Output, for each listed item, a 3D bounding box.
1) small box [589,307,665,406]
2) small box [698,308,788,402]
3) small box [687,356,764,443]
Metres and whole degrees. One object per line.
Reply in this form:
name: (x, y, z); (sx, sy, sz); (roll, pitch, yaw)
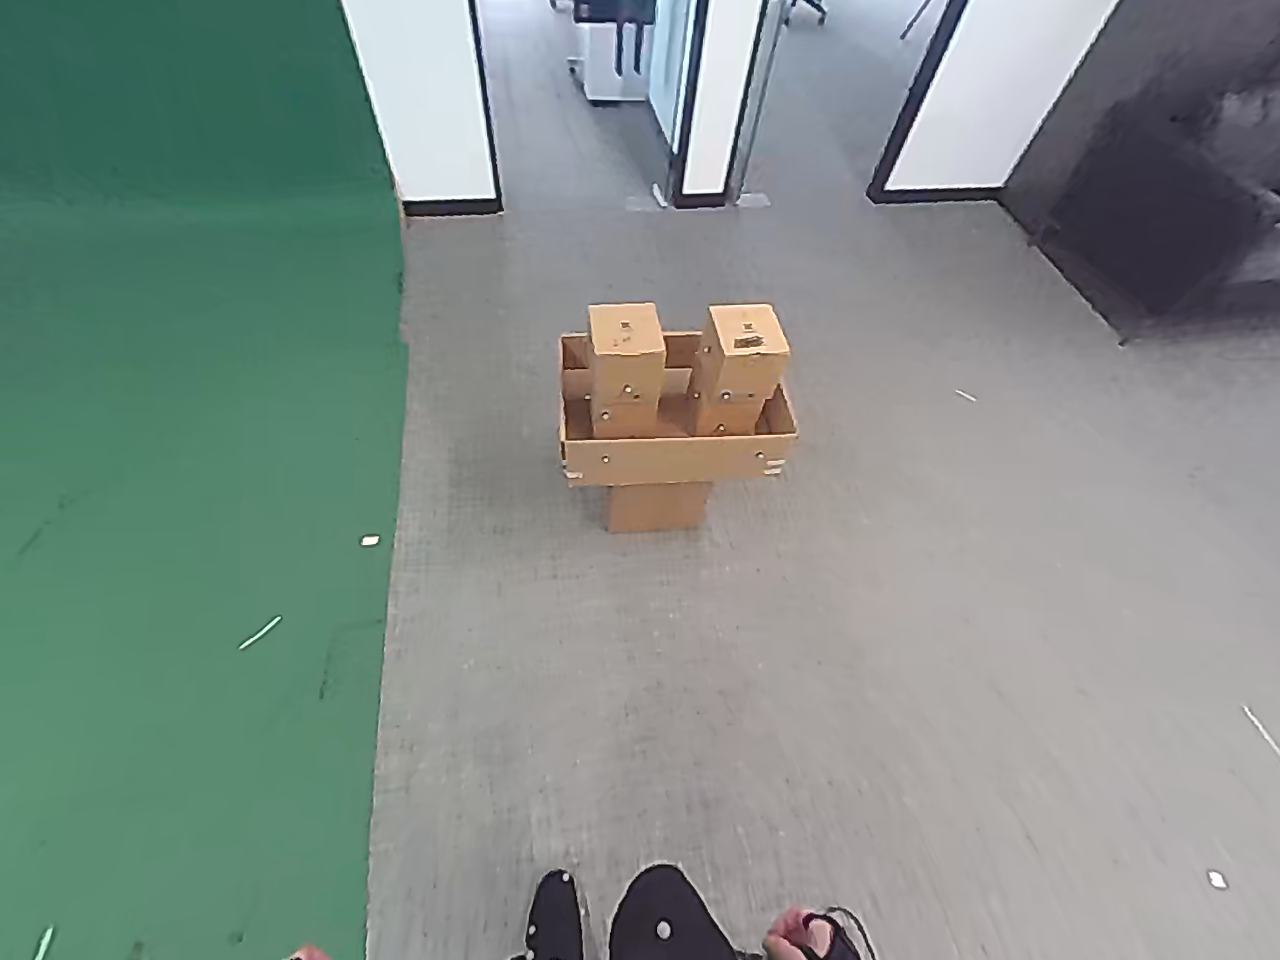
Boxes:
small box: (-0.039, -0.304, 1.338); (0.168, 0.176, 0.179); (-4, 56, -8)
small box: (0.255, -0.312, 1.376); (0.168, 0.176, 0.179); (-4, 57, -9)
small box: (0.232, -0.225, 1.514); (0.168, 0.176, 0.179); (0, 57, -7)
